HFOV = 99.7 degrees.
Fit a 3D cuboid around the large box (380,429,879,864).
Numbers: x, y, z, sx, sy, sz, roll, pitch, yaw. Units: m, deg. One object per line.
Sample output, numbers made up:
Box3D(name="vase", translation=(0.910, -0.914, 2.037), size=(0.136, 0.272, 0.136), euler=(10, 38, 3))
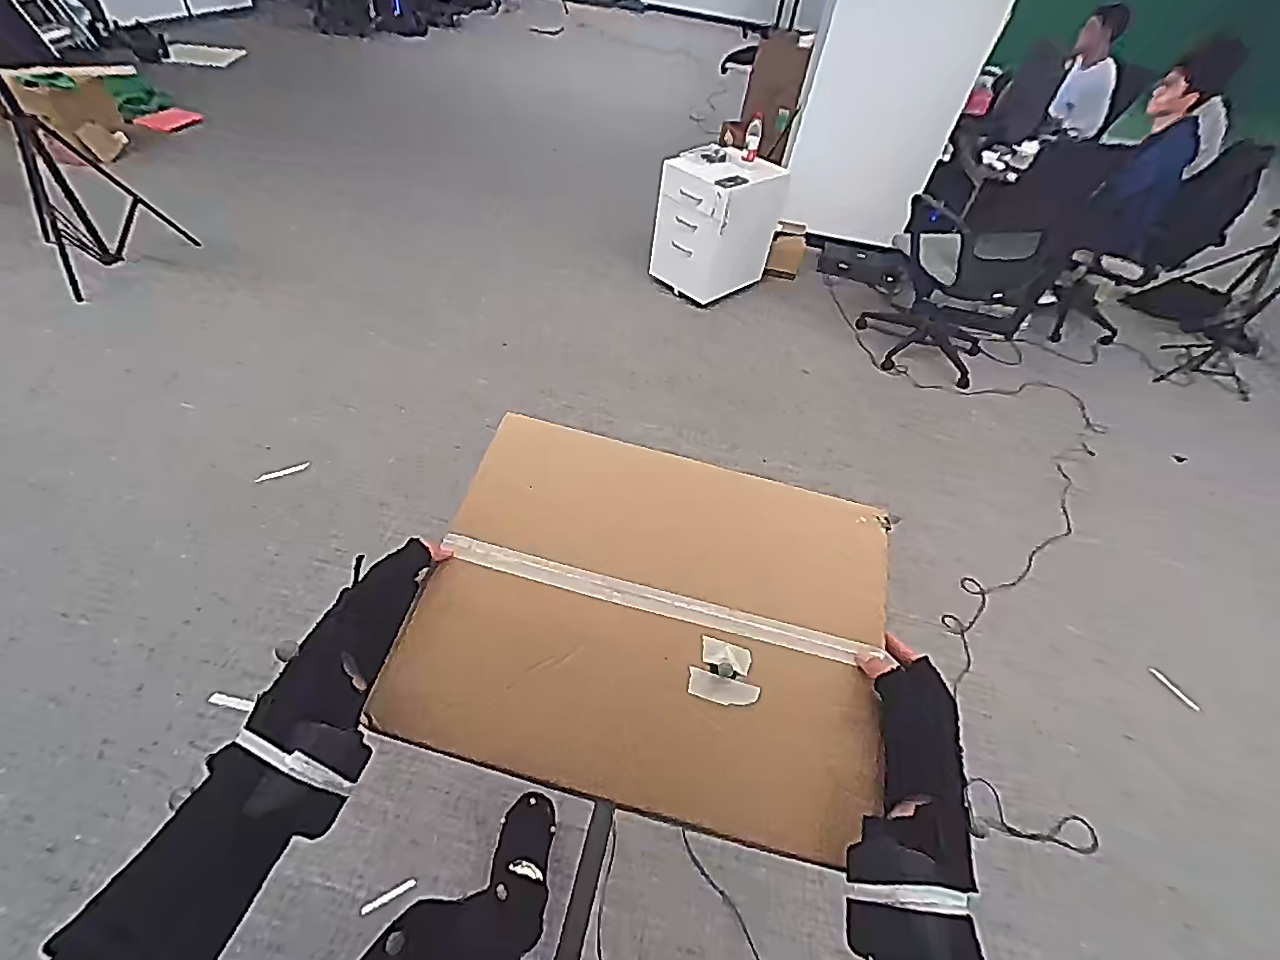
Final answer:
Box3D(name="large box", translation=(0.003, 0.192, 0.617), size=(0.408, 0.320, 0.320), euler=(15, 60, 2))
